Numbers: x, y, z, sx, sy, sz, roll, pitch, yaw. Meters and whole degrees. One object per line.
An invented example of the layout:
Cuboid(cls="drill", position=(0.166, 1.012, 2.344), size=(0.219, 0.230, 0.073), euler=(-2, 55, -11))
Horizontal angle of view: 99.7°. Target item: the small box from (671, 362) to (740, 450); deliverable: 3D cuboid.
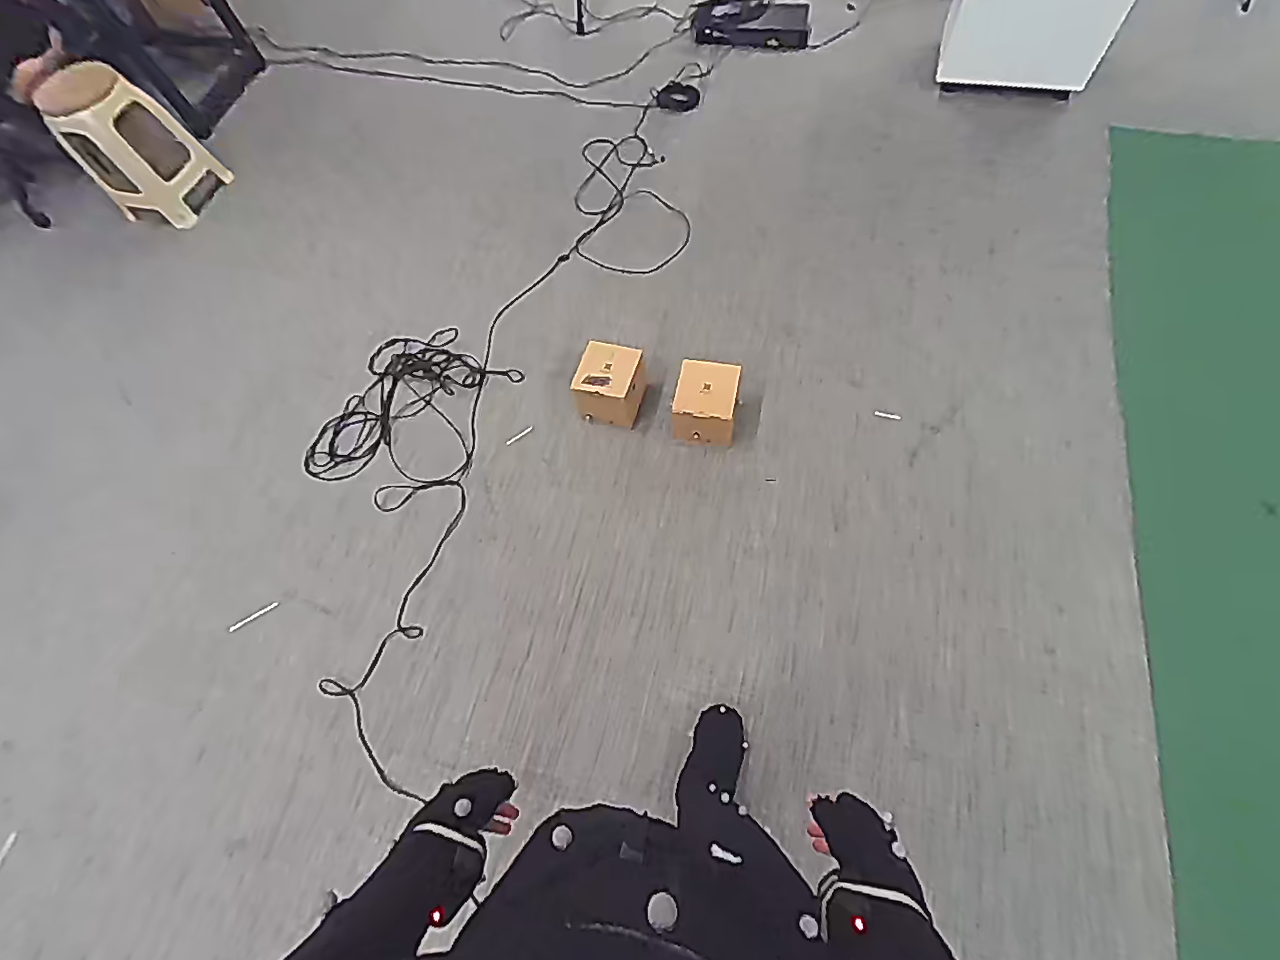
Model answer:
Cuboid(cls="small box", position=(0.188, -0.211, 1.560), size=(0.168, 0.176, 0.179), euler=(9, 67, 11))

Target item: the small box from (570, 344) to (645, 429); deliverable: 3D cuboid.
Cuboid(cls="small box", position=(-0.089, -0.276, 1.619), size=(0.168, 0.176, 0.179), euler=(14, 67, 12))
